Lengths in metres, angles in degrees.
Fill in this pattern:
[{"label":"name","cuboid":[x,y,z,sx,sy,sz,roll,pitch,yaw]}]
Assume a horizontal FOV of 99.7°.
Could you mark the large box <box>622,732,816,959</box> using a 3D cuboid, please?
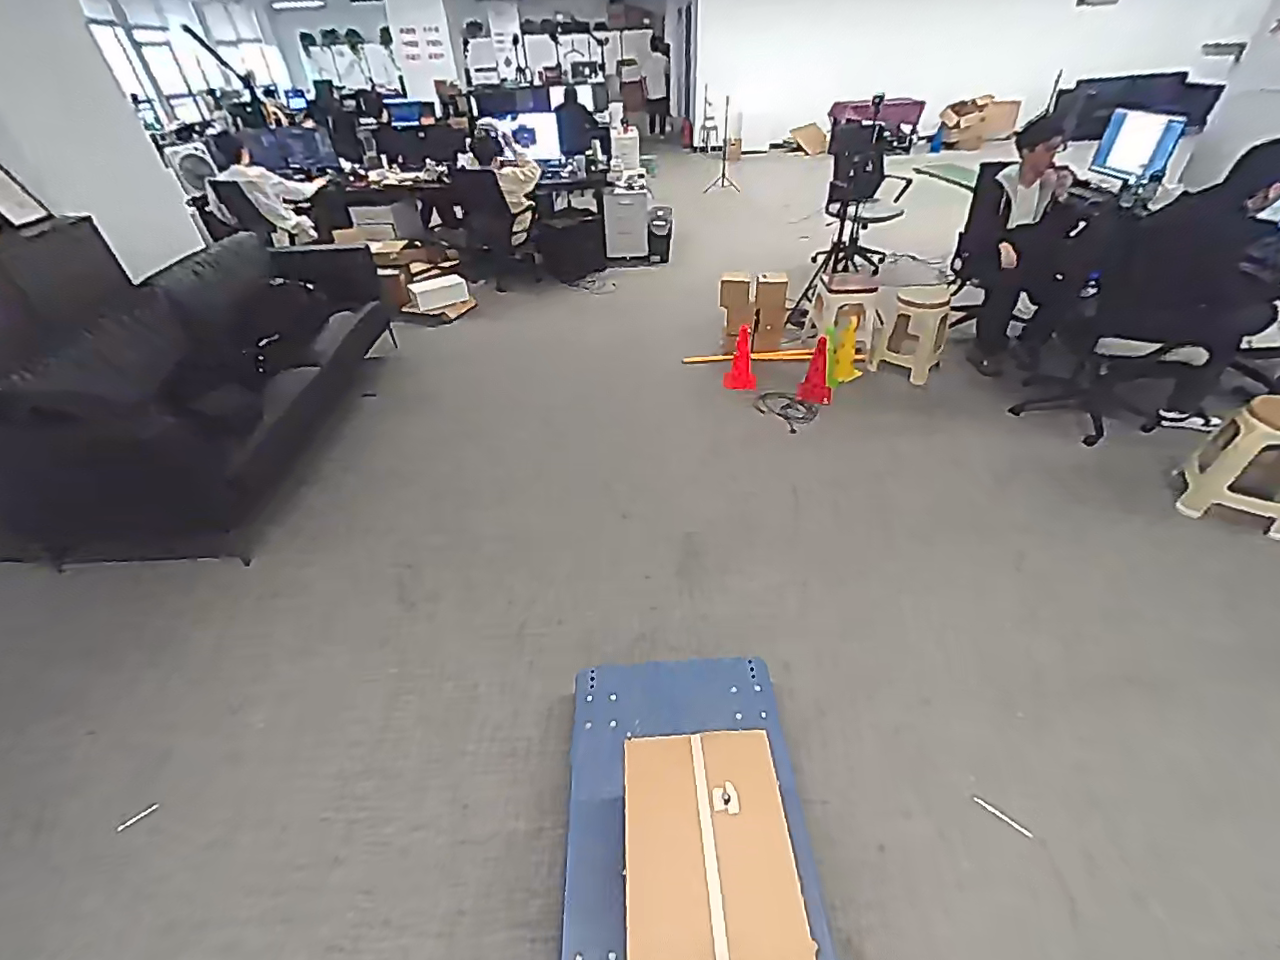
[{"label":"large box","cuboid":[0.134,0.805,1.119,0.320,0.320,0.408,-4,38,-1]}]
